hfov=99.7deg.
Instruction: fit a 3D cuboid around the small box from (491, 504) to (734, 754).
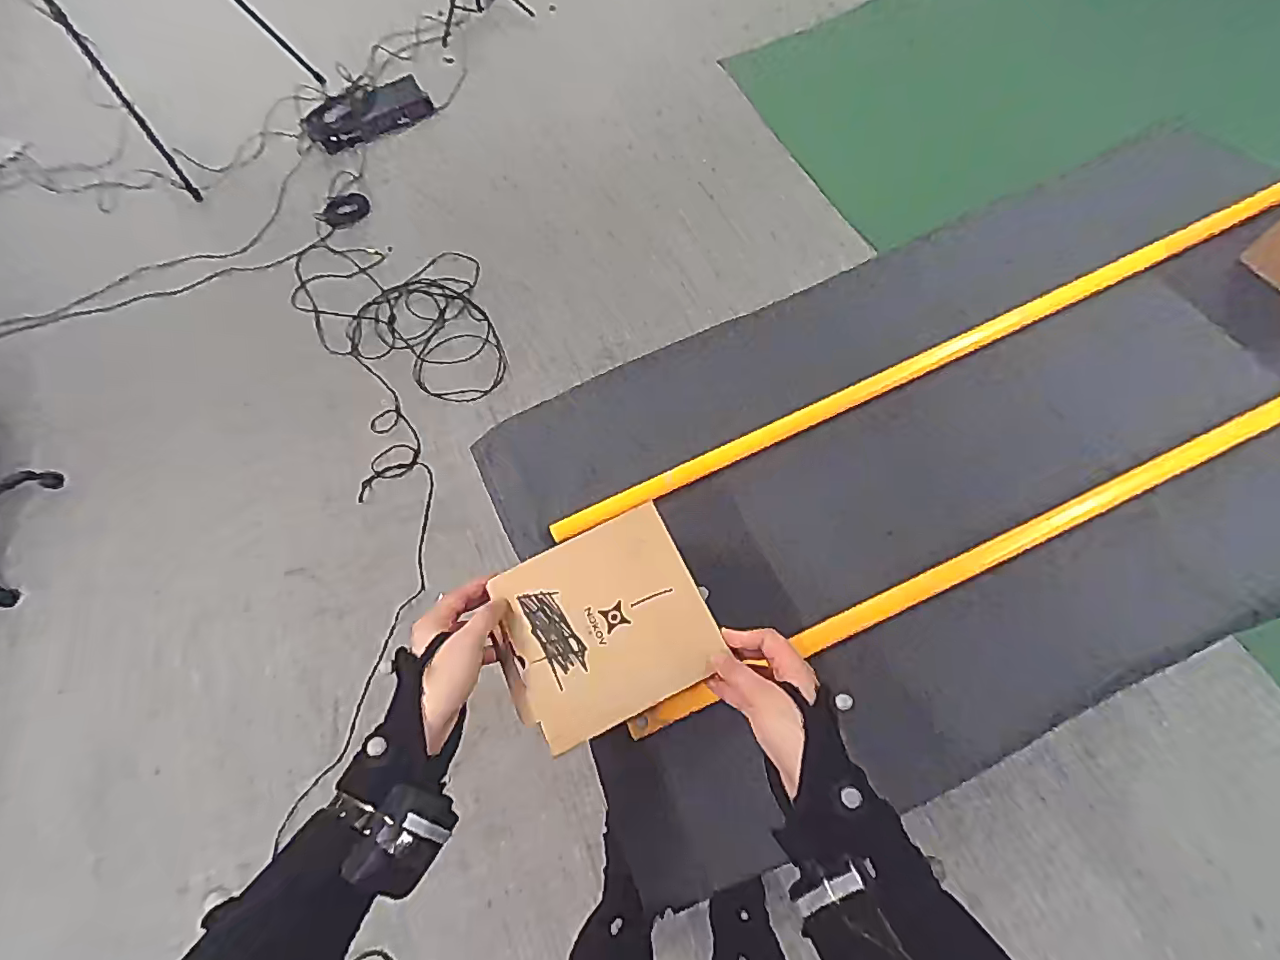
[{"bbox_3d":[-0.022,0.153,0.557,0.179,0.176,0.168,-26,71,-5],"label":"small box"}]
